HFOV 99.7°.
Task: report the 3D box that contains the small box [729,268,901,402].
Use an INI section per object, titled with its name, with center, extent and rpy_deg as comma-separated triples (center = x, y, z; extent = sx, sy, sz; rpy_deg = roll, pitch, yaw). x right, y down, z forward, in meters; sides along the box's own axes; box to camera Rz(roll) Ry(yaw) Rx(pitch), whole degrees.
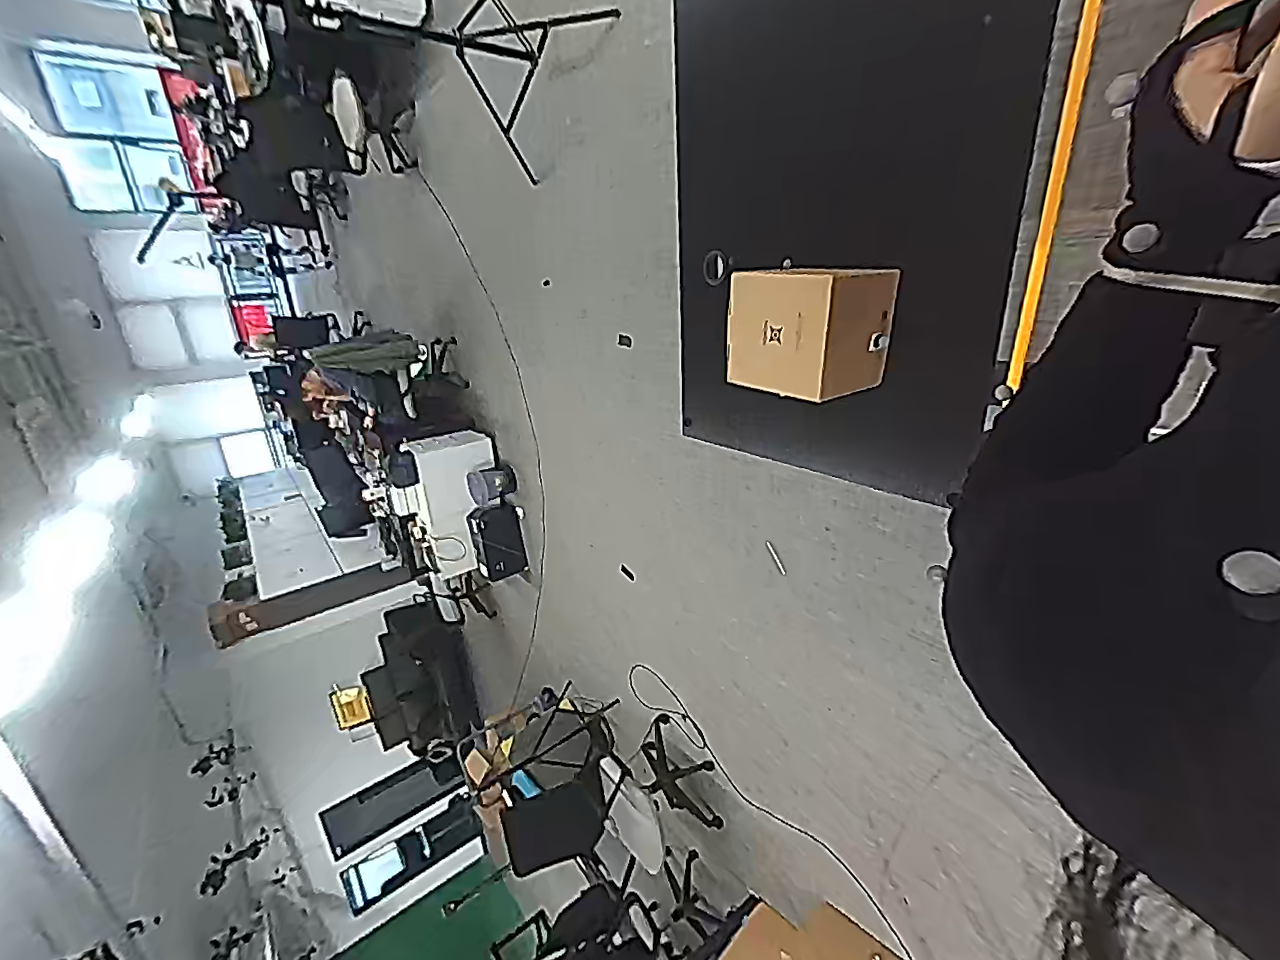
[small box]
center = 0.256, -0.225, 0.812
extent = 0.179, 0.176, 0.168
rpy_deg = 25, 125, 47
